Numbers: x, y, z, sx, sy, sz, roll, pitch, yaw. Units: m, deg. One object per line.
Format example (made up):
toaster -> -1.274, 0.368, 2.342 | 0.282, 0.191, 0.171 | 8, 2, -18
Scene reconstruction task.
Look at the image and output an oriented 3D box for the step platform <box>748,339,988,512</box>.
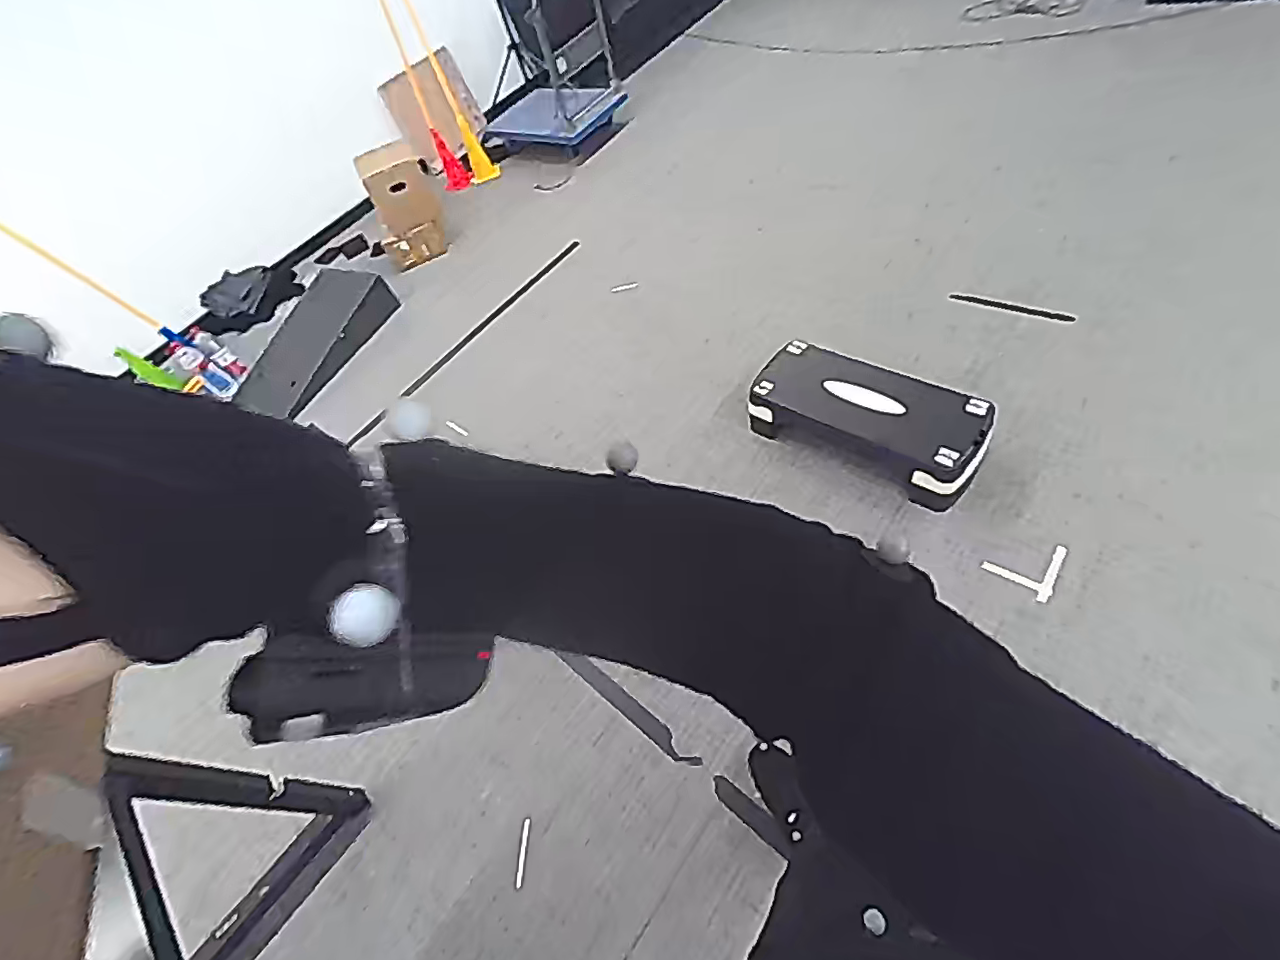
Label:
step platform -> 0.670, -0.197, 1.674 | 0.286, 0.204, 0.684 | -45, 53, -15
